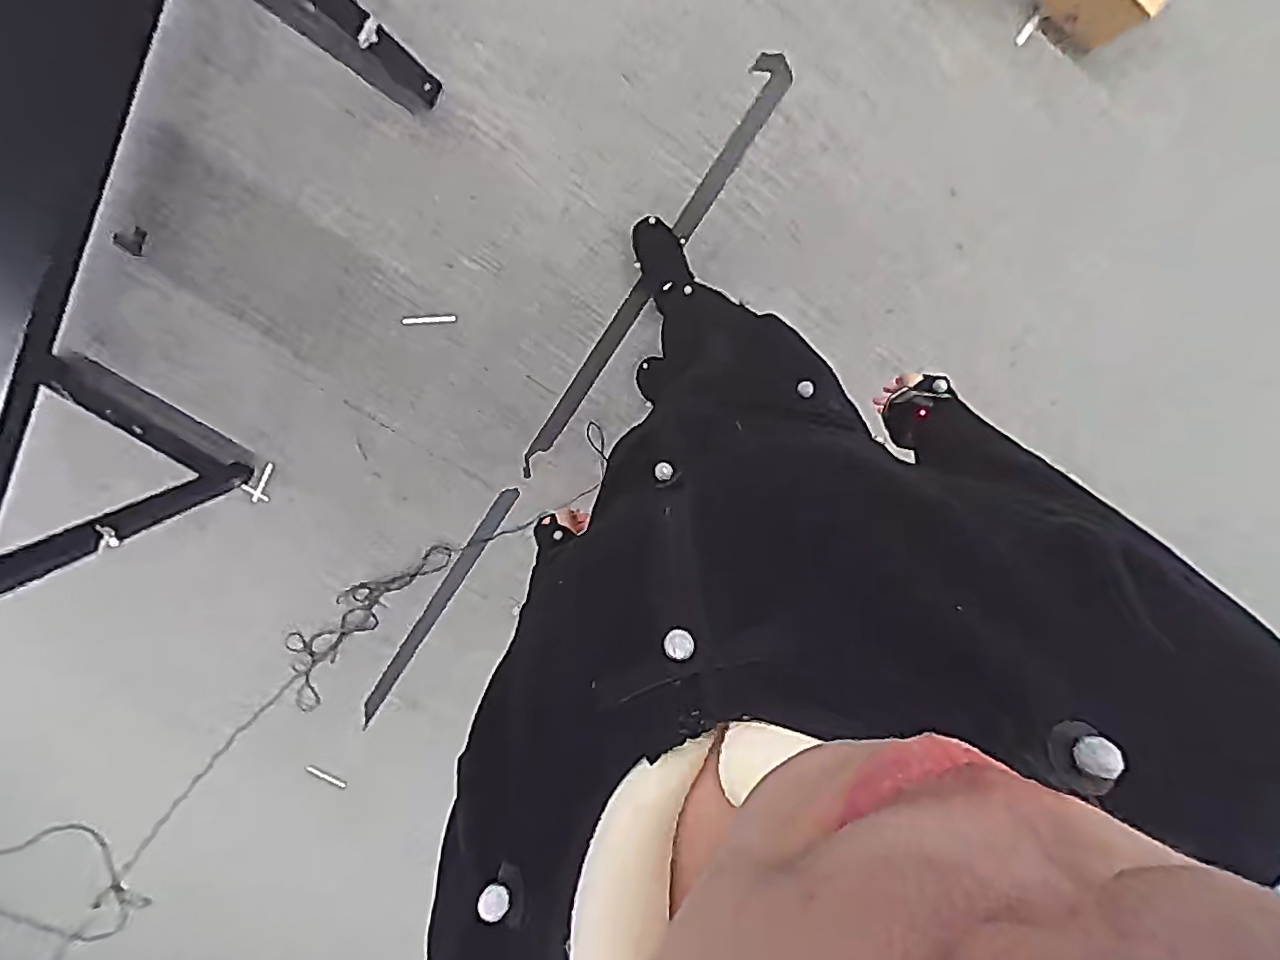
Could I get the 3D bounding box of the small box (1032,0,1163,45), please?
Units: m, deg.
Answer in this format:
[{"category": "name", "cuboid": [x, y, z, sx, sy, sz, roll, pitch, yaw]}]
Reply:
[{"category": "small box", "cuboid": [0.938, -1.010, 1.064, 0.179, 0.176, 0.168, 32, 106, -10]}]
